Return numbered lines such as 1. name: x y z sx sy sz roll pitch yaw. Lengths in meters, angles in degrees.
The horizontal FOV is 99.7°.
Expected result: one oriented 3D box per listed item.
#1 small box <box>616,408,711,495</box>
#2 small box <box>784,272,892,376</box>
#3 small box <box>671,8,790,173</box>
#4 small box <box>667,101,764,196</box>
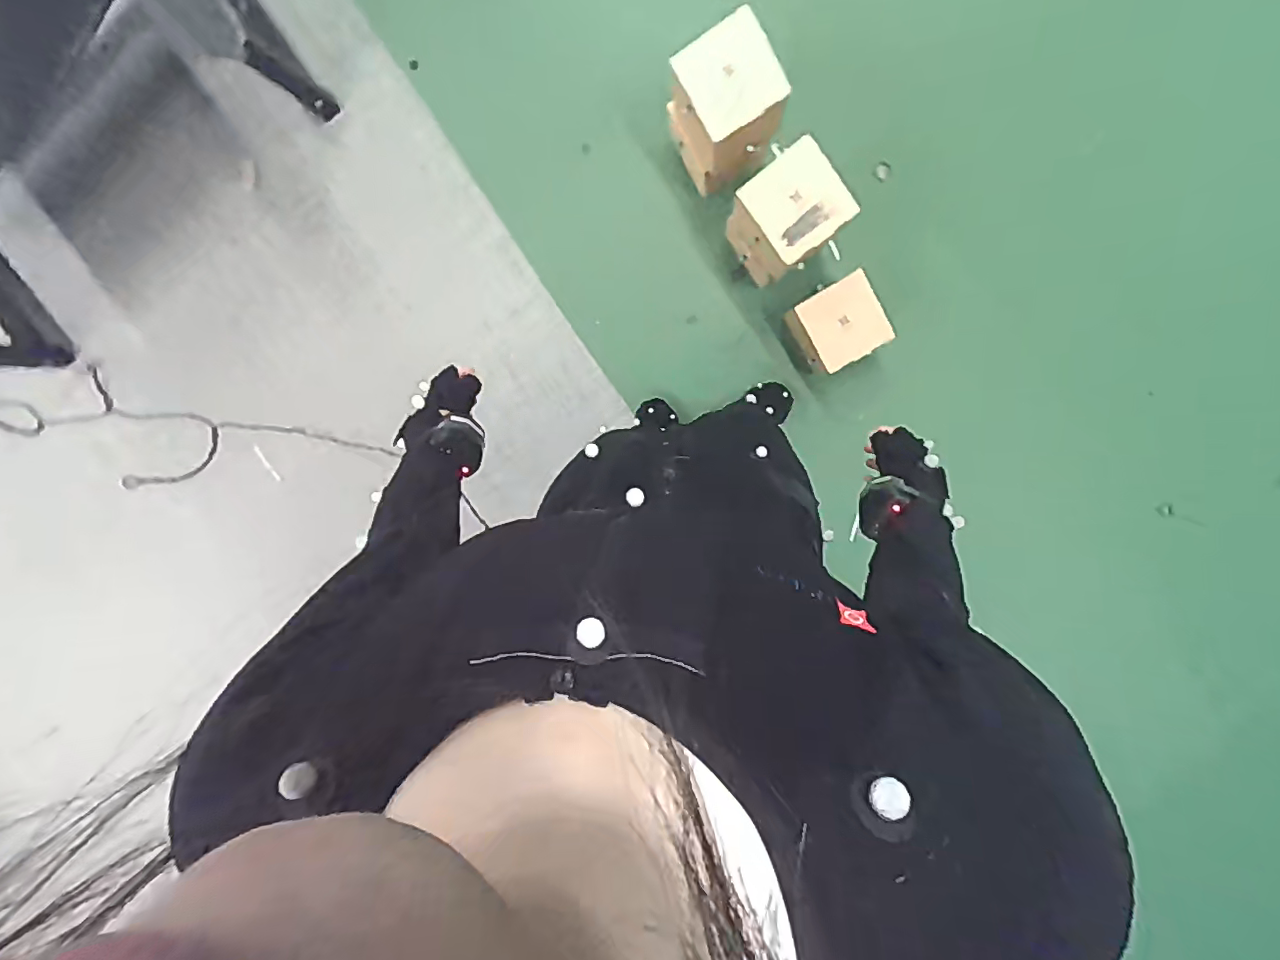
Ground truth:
1. small box: 0.055 -0.078 1.400 0.179 0.176 0.168 26 114 24
2. small box: 0.464 -0.364 1.291 0.168 0.176 0.179 -29 96 10
3. small box: 0.175 -0.761 1.080 0.168 0.176 0.179 -29 96 10
4. small box: 0.179 -0.792 1.243 0.179 0.176 0.168 -28 96 10
